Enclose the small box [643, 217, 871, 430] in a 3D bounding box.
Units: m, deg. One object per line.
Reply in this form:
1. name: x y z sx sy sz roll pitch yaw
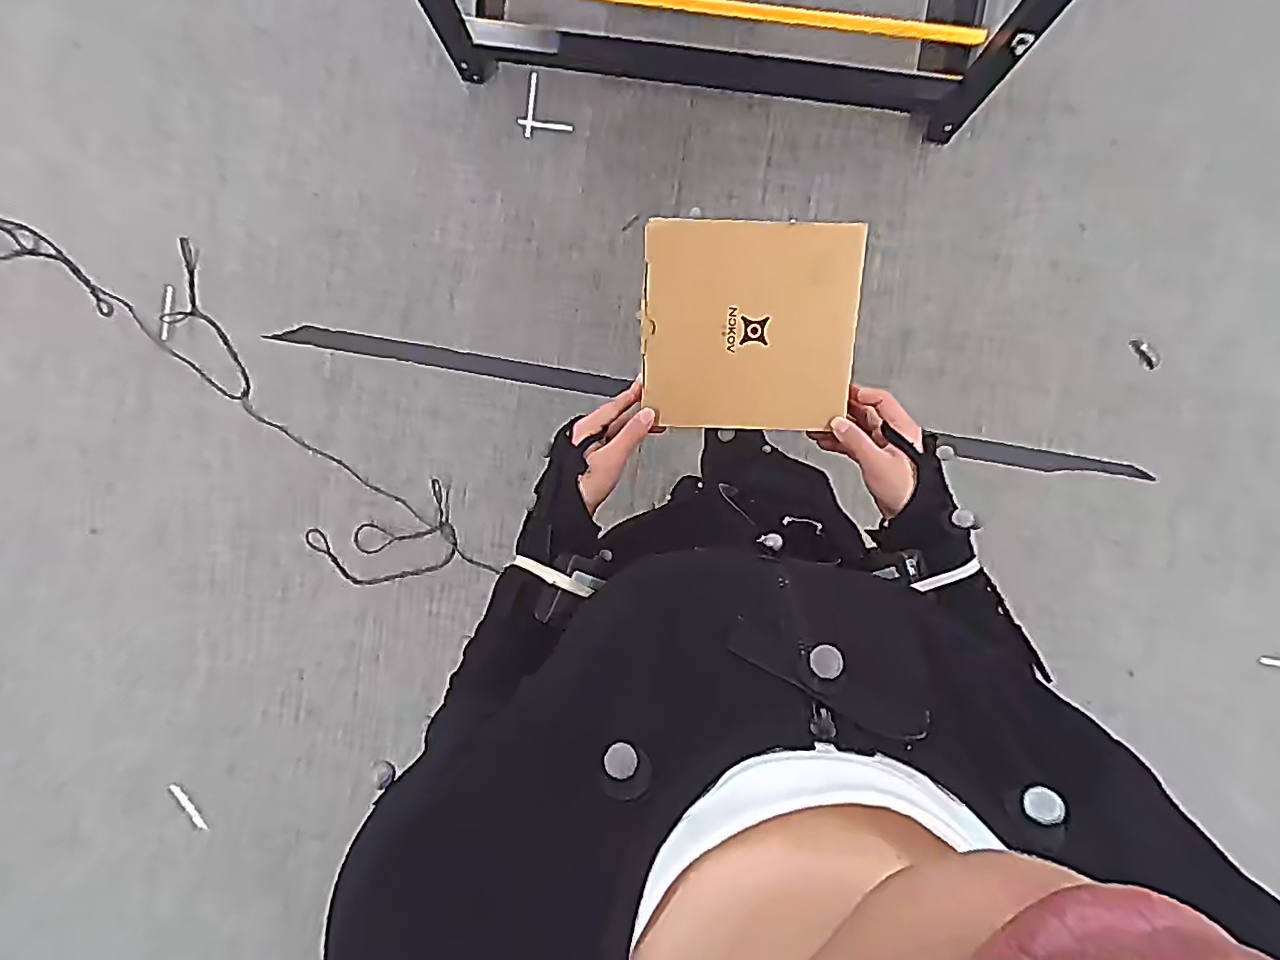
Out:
1. small box: 0.095 -0.144 0.517 0.179 0.176 0.168 2 103 3
